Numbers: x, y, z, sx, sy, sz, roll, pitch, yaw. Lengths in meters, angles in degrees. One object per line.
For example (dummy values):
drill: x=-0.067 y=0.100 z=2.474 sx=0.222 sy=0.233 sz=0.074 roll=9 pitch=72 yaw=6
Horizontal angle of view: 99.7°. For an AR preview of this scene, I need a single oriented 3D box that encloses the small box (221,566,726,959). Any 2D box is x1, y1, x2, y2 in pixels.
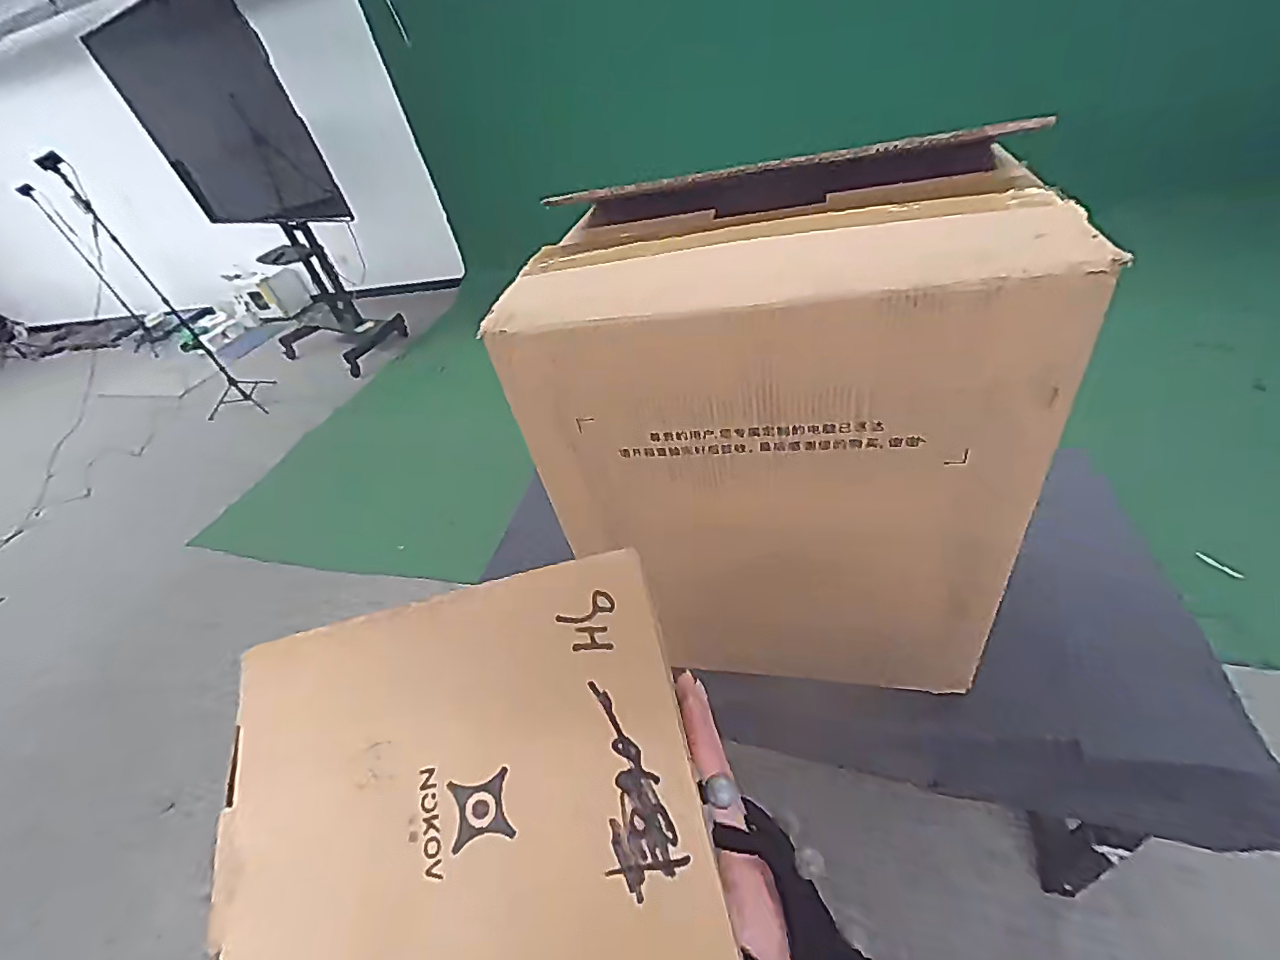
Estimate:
small box: x=-0.061 y=0.161 z=0.272 sx=0.179 sy=0.176 sz=0.168 roll=-14 pitch=66 yaw=-1
